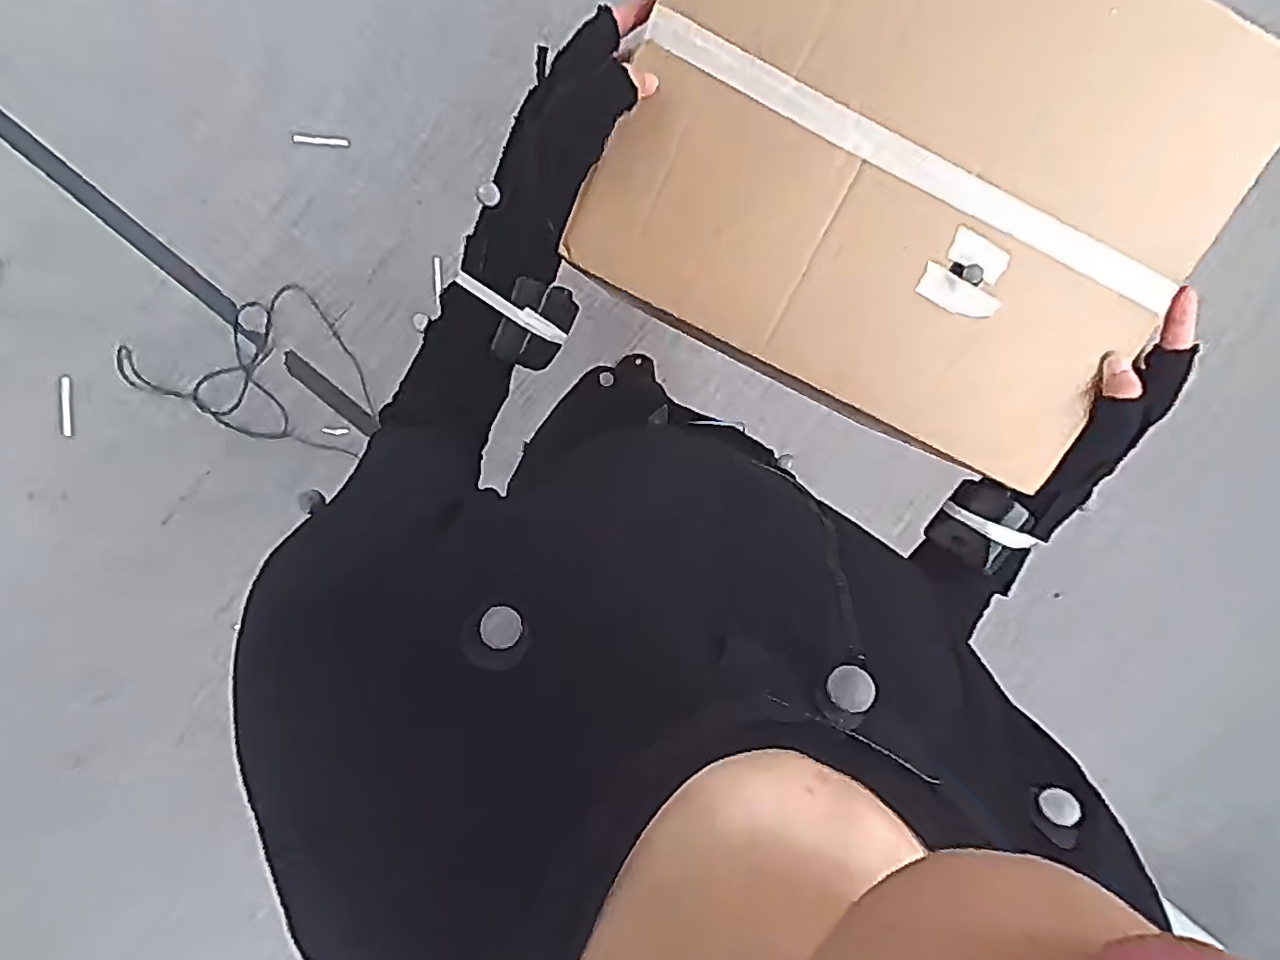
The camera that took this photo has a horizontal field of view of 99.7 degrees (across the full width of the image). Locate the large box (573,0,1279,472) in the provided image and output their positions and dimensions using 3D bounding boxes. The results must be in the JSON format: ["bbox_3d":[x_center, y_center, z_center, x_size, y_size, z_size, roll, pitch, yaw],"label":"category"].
[{"bbox_3d":[0.193,-0.257,0.524,0.408,0.320,0.320,26,105,-5],"label":"large box"}]
